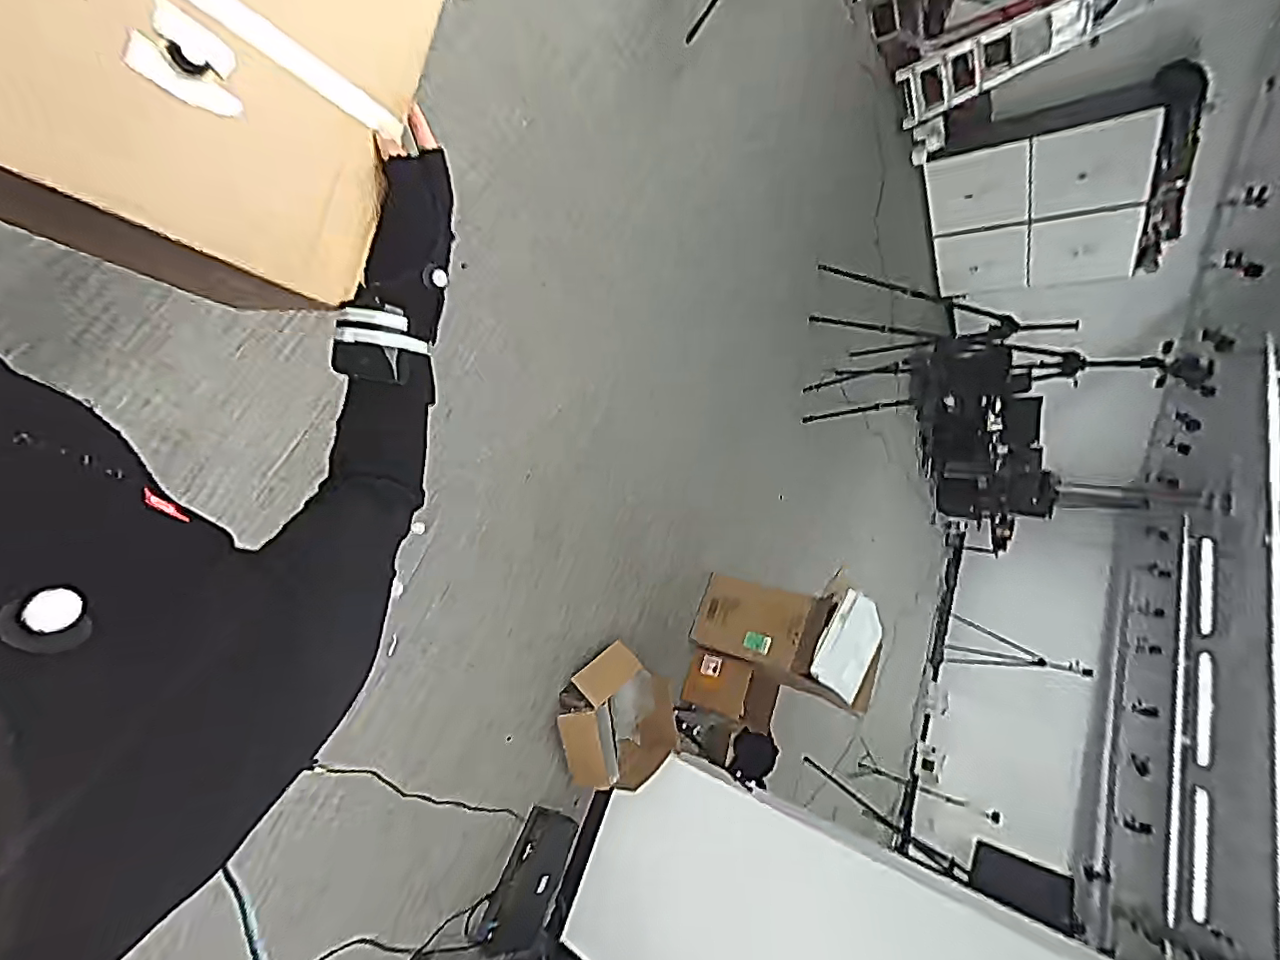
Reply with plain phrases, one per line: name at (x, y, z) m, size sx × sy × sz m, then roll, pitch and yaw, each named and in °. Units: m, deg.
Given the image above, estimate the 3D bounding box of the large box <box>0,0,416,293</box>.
large box at (-0.456, -0.371, 0.404) m, size 0.408 × 0.320 × 0.320 m, roll 16°, pitch 90°, yaw -52°
